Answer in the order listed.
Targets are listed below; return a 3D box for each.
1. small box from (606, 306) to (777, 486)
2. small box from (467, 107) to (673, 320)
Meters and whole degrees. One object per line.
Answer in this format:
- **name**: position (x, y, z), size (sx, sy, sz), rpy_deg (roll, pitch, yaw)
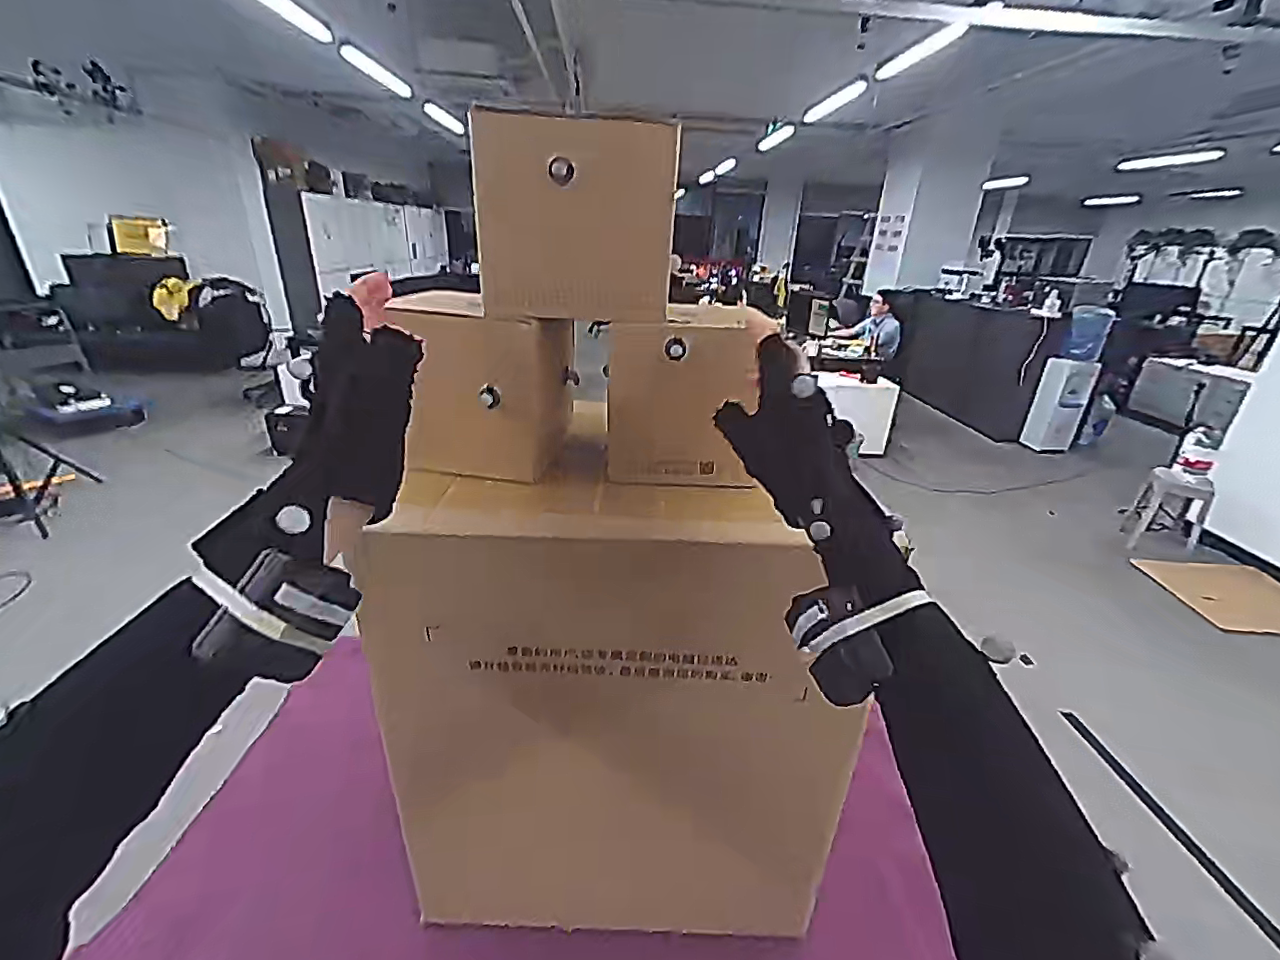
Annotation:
- **small box**: position (0.048, -0.104, 0.620), size (0.168, 0.176, 0.179), rpy_deg (1, 23, 0)
- **small box**: position (-0.063, -0.260, 0.554), size (0.179, 0.176, 0.168), rpy_deg (2, 24, -3)
